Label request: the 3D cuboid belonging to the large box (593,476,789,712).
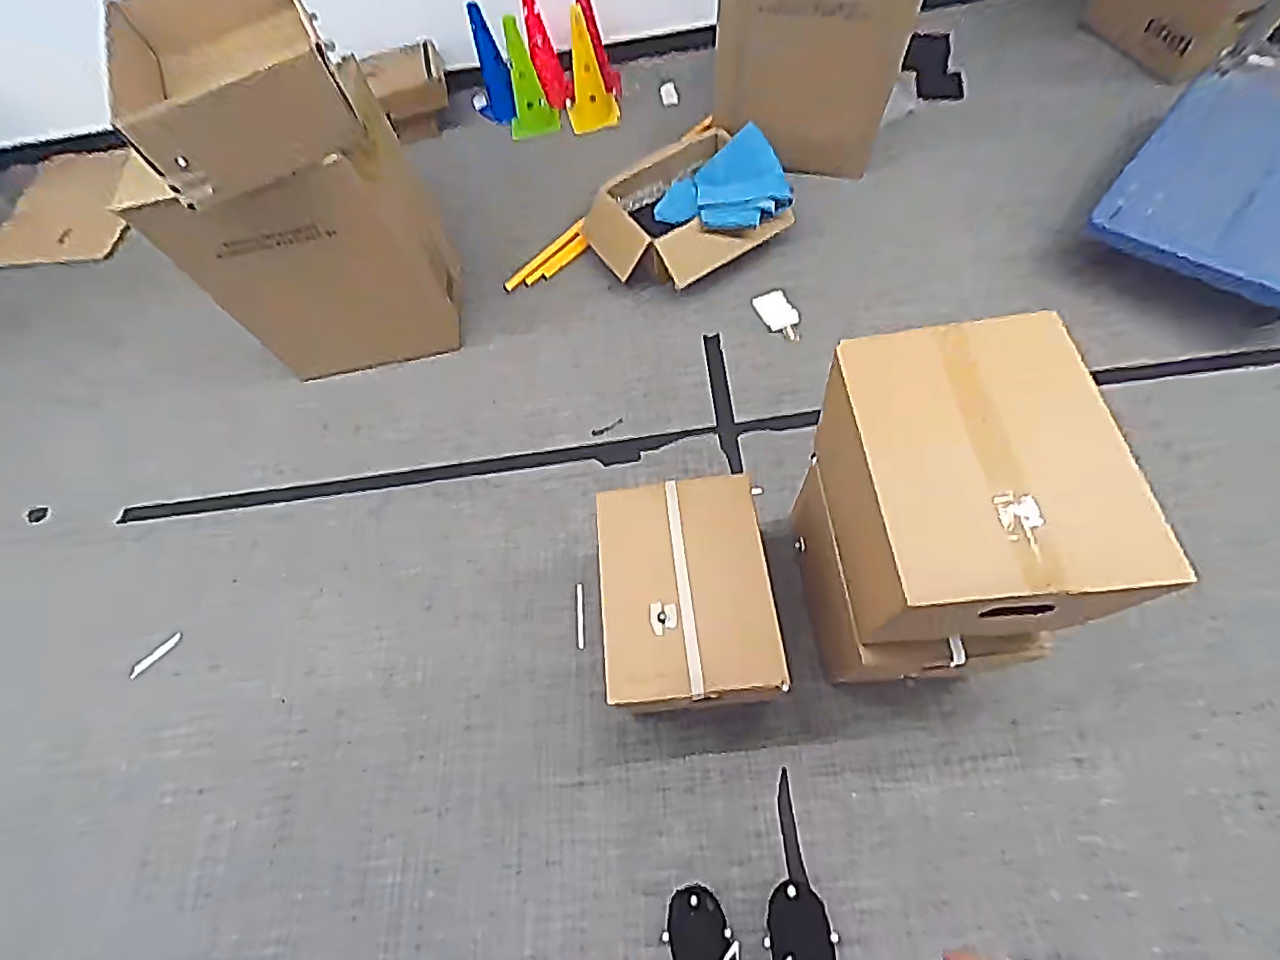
[{"bbox_3d":[0.092,0.251,1.138,0.320,0.320,0.408,-8,64,3],"label":"large box"}]
